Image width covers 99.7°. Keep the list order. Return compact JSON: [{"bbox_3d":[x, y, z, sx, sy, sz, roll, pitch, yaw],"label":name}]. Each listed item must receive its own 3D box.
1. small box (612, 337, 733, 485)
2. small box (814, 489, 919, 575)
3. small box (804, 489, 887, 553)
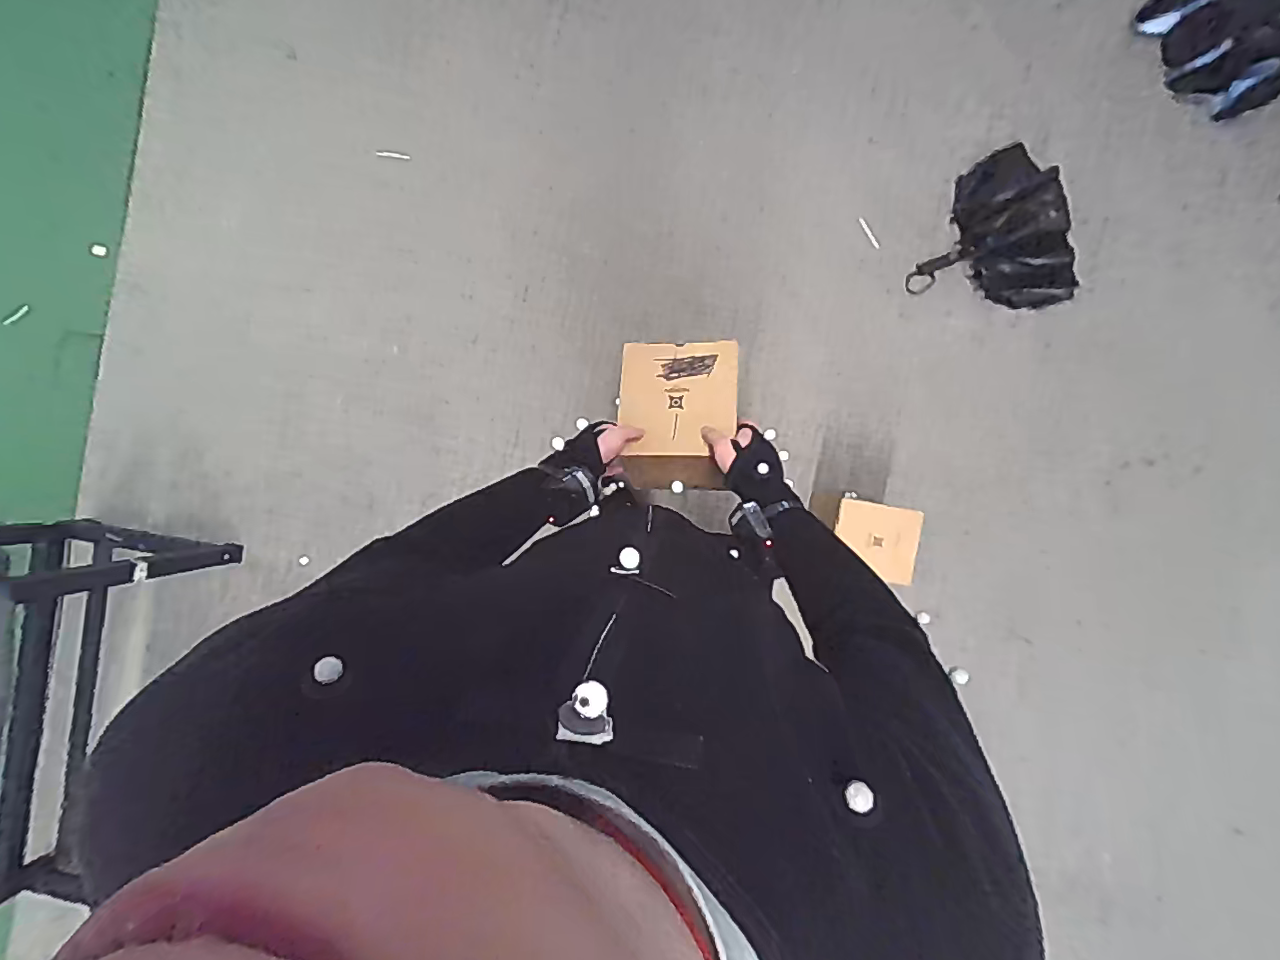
[{"bbox_3d":[0.058,-0.101,0.835,0.168,0.176,0.179,0,74,10],"label":"small box"},{"bbox_3d":[0.523,0.116,1.275,0.179,0.176,0.168,9,93,5],"label":"small box"},{"bbox_3d":[0.545,0.115,1.437,0.179,0.176,0.168,7,92,7],"label":"small box"}]
